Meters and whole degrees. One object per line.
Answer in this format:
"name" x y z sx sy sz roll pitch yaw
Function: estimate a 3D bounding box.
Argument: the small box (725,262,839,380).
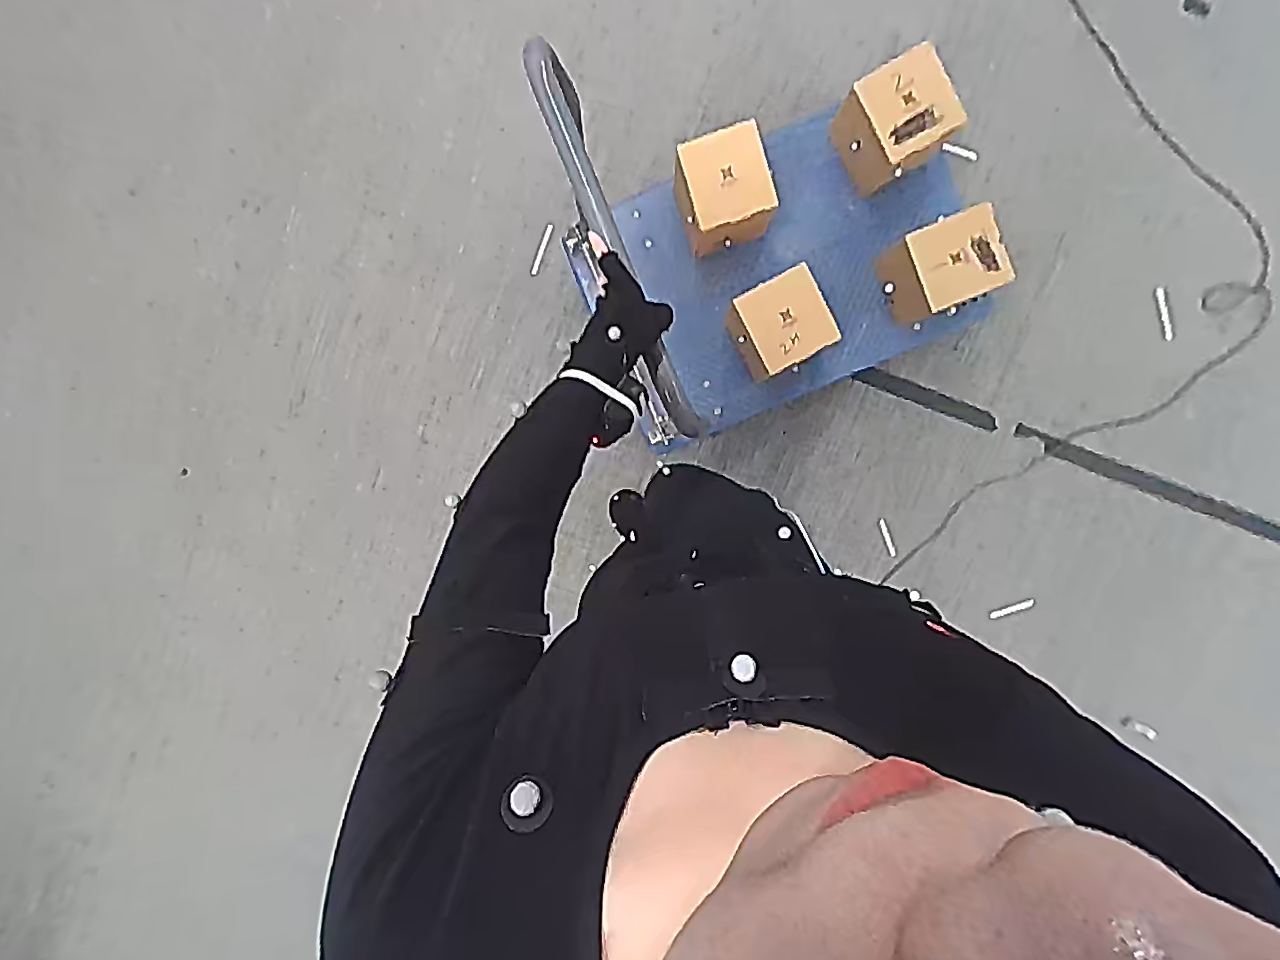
"small box" 0.299 -0.336 1.181 0.168 0.176 0.179 -27 94 4

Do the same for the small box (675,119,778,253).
"small box" 0.176 -0.618 1.159 0.168 0.176 0.179 -18 96 3

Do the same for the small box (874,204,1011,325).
"small box" 0.638 -0.450 1.159 0.179 0.176 0.168 -21 94 5
